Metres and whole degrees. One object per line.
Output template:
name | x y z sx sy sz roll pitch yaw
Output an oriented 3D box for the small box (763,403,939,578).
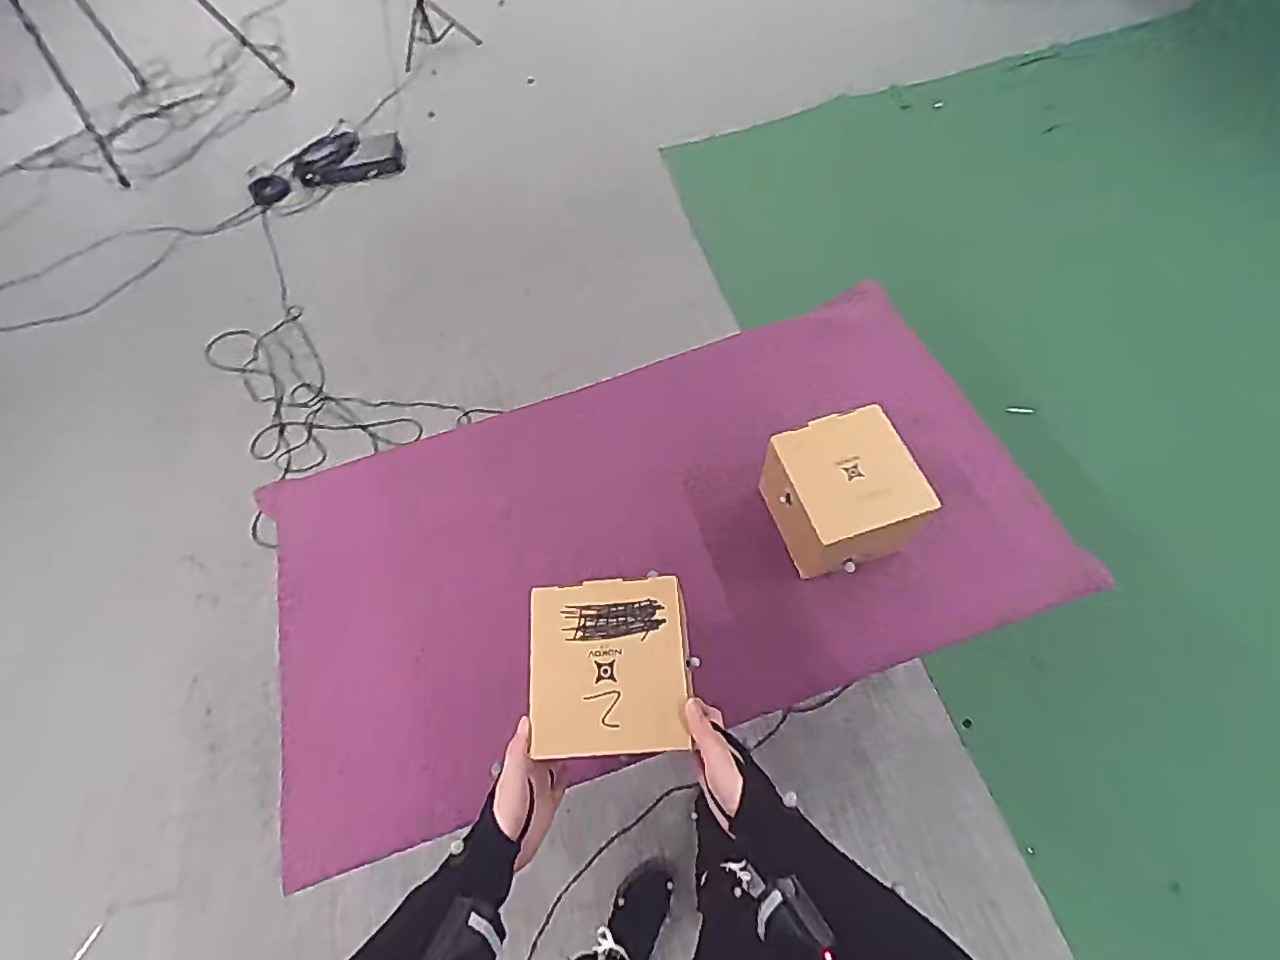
small box | 0.292 0.022 0.797 0.168 0.176 0.179 -17 62 -2
